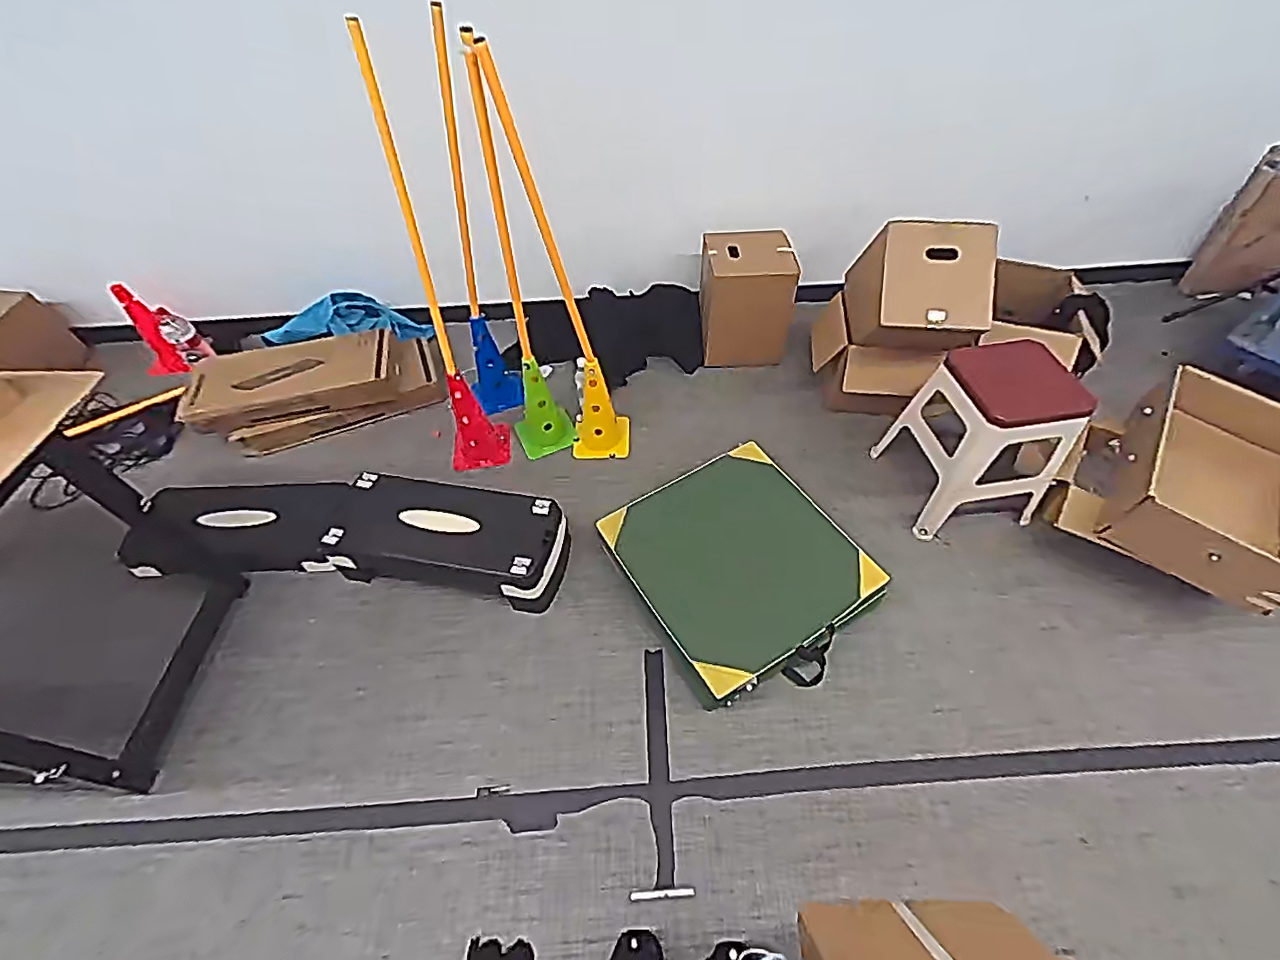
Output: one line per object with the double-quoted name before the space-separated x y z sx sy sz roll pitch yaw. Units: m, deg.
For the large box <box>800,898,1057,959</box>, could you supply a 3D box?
"large box" 0.404 0.774 0.634 0.320 0.408 0.320 -3 78 1
